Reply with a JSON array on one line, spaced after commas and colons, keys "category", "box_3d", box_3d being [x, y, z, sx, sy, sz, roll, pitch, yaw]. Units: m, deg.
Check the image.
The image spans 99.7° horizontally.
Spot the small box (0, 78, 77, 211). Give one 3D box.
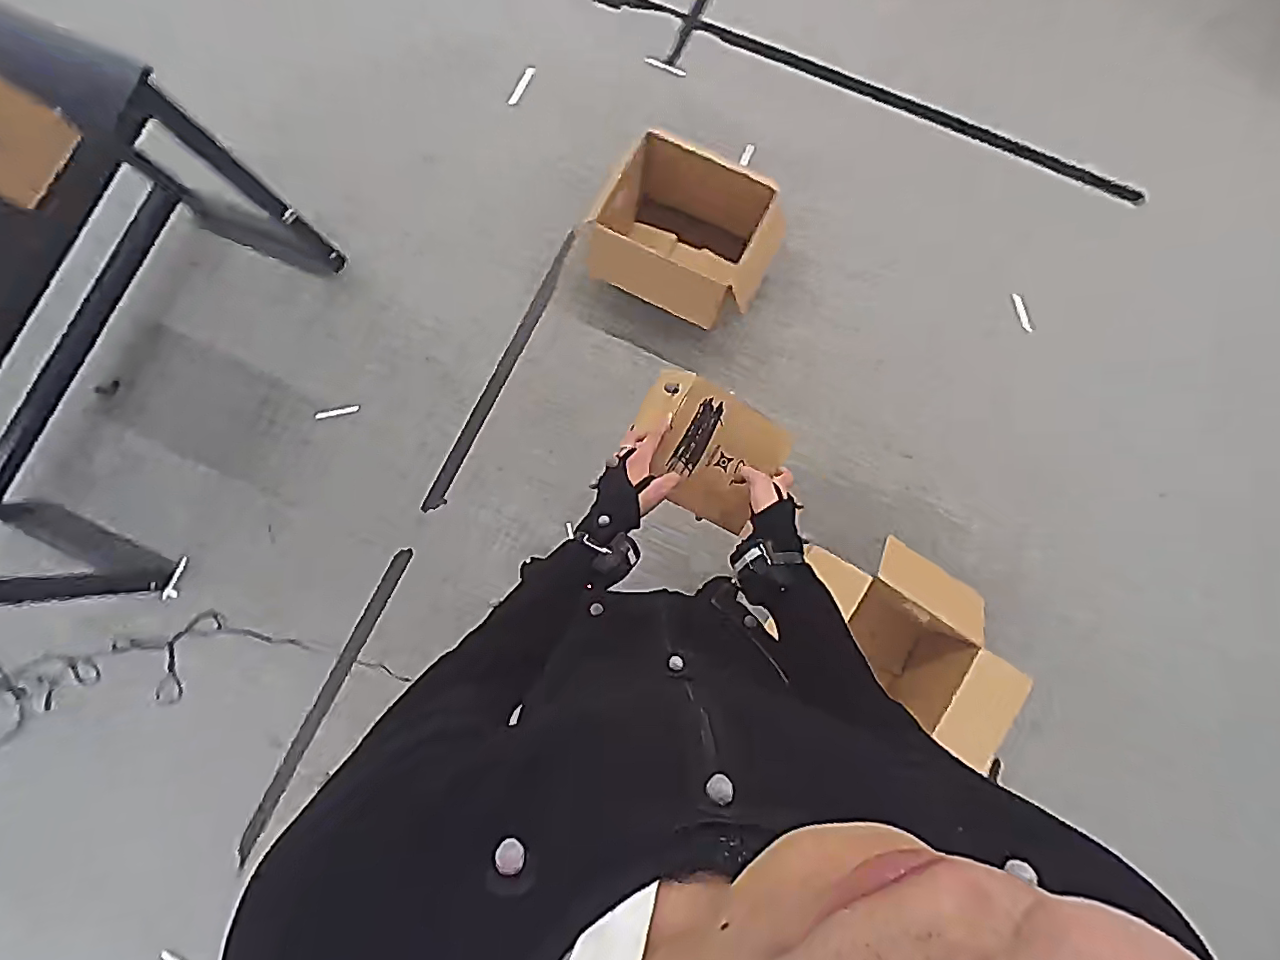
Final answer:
[{"category": "small box", "box_3d": [-1.176, -0.626, 0.957, 0.168, 0.176, 0.179, 27, 86, 5]}]
